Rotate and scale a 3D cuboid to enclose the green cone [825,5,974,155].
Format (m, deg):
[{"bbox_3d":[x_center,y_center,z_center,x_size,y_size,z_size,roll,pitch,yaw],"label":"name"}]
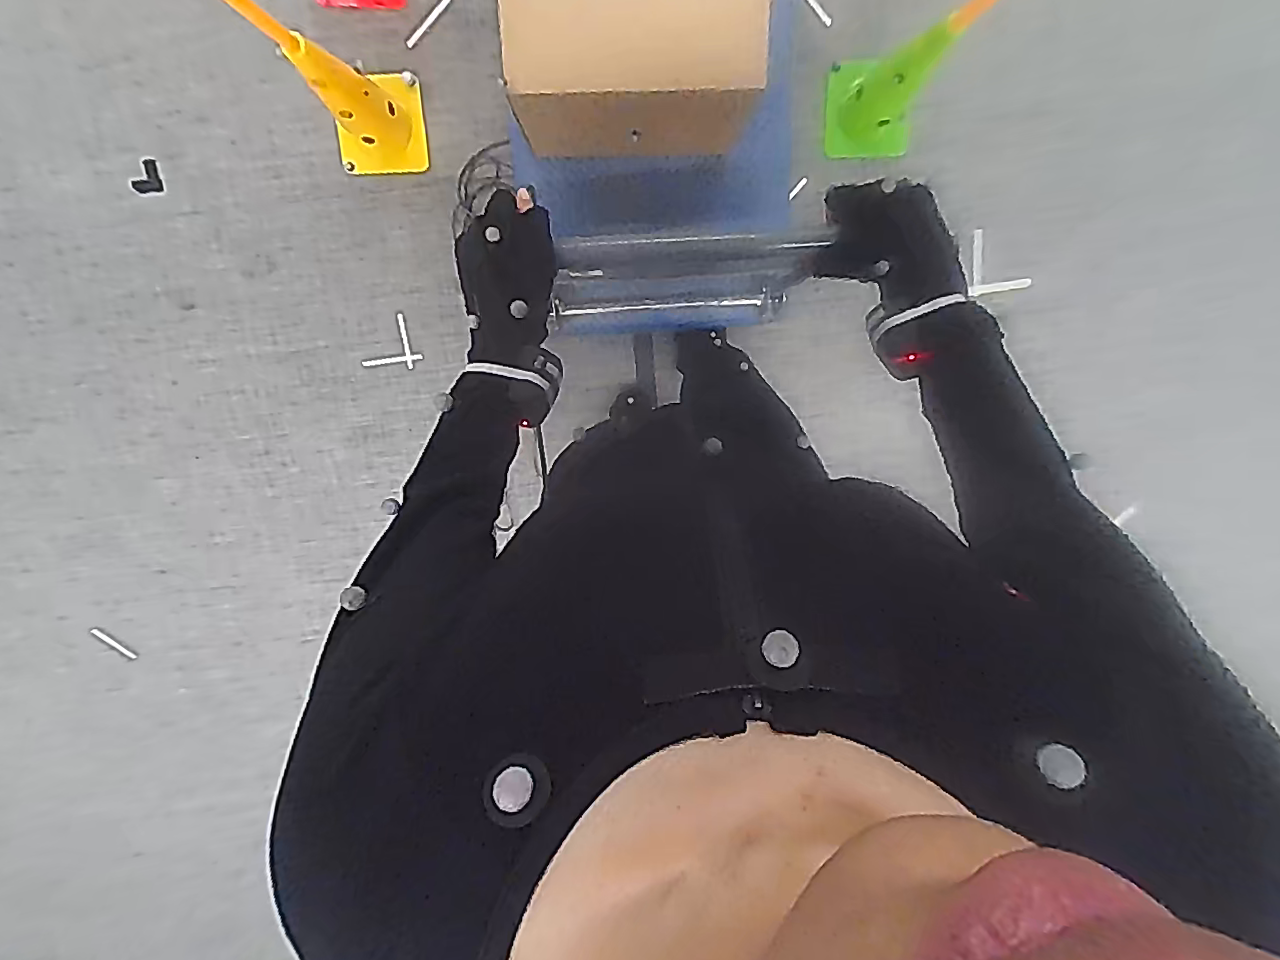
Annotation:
[{"bbox_3d":[0.540,-0.830,1.097,0.202,0.368,0.200,-3,105,-2],"label":"green cone"}]

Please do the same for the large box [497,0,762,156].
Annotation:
[{"bbox_3d":[-0.018,-0.786,0.944,0.408,0.320,0.320,-2,105,0],"label":"large box"}]

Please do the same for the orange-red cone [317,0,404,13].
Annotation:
[{"bbox_3d":[-0.606,-1.091,1.001,0.198,0.360,0.199,1,103,-3],"label":"orange-red cone"}]
